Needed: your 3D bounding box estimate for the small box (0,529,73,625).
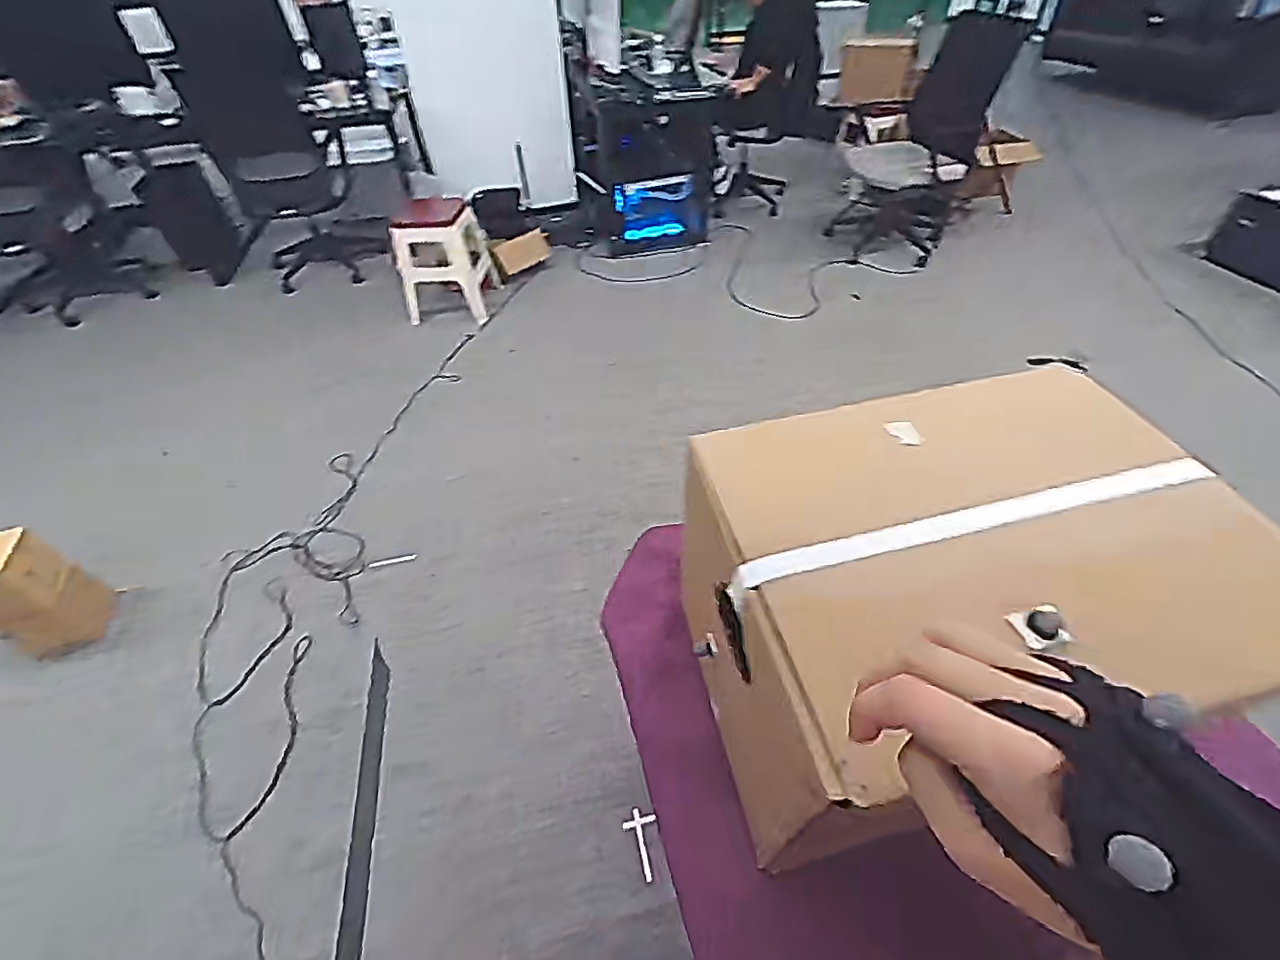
[{"bbox_3d":[-1.665,0.261,1.414,0.179,0.176,0.168,-17,48,-12],"label":"small box"}]
